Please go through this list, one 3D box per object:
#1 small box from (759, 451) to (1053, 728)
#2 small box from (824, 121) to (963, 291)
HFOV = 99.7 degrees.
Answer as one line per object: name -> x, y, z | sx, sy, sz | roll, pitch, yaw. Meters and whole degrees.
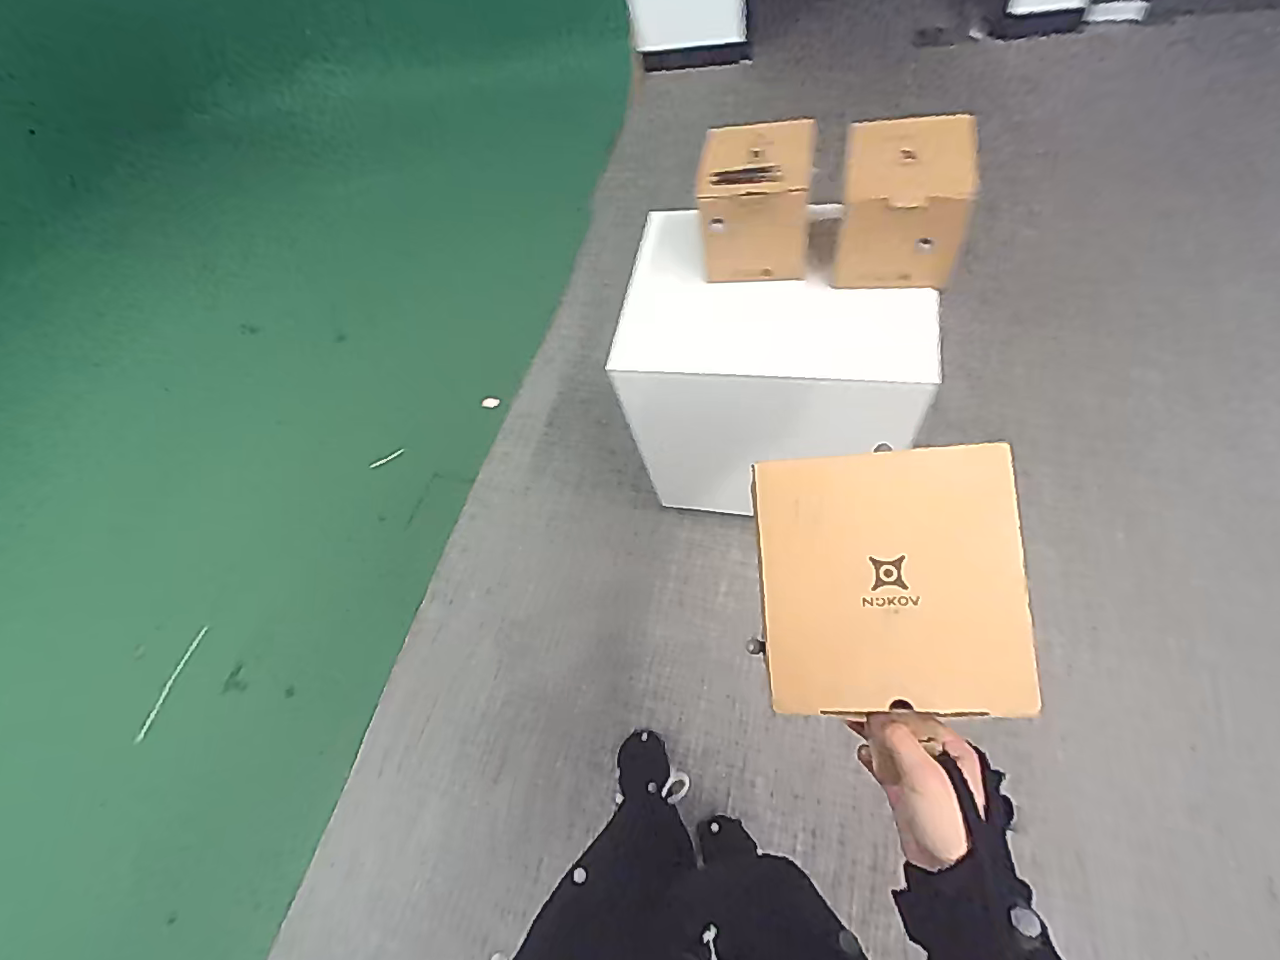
small box -> 0.186, 0.079, 0.434 | 0.168, 0.176, 0.179 | -4, 84, 11
small box -> 0.382, -0.414, 0.839 | 0.168, 0.176, 0.179 | 5, 64, 15
